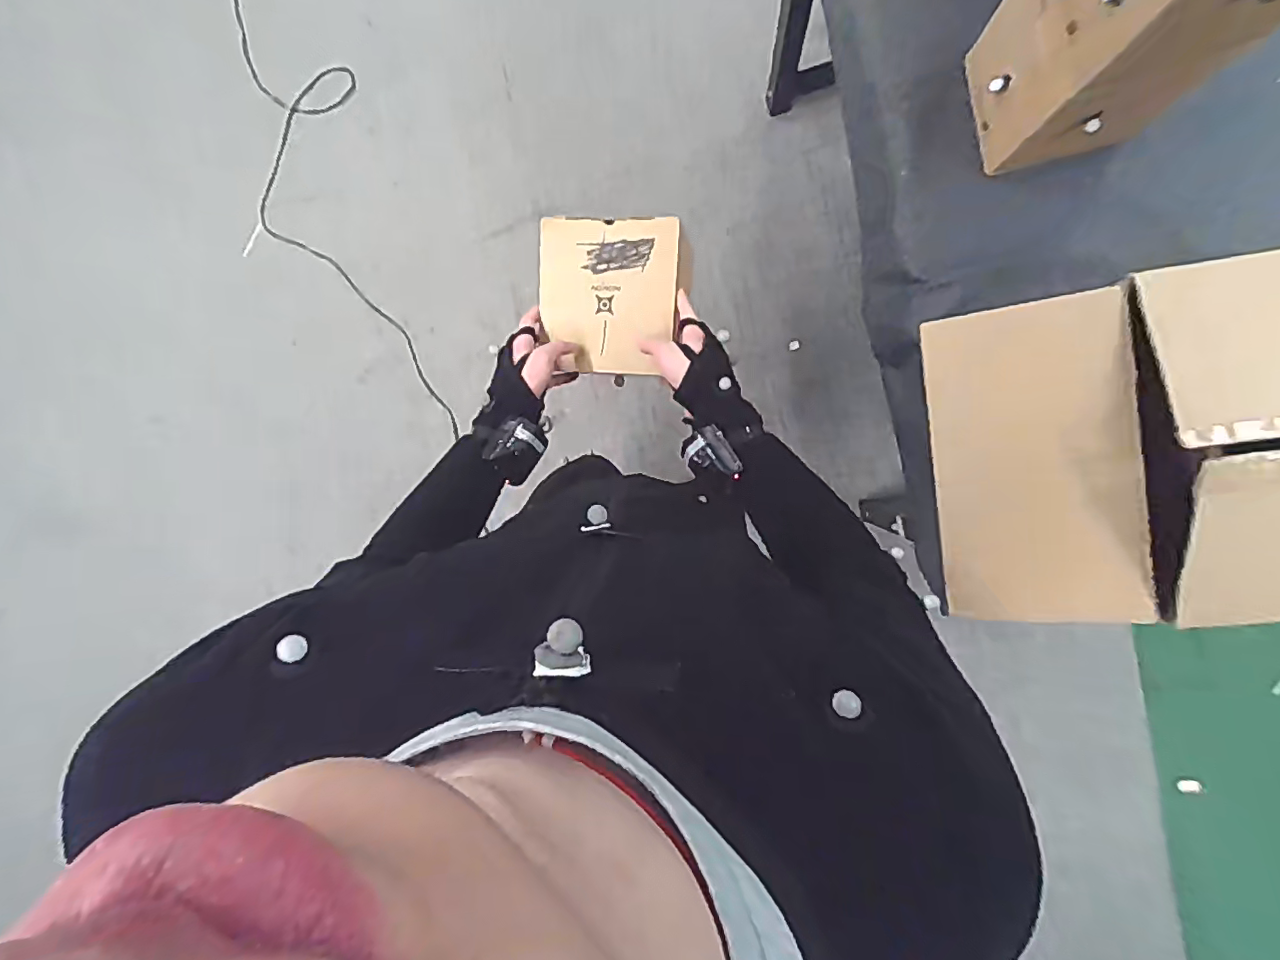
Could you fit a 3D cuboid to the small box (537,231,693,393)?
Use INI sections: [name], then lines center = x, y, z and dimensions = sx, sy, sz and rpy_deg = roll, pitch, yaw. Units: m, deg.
[small box]
center = -0.025, -0.210, 0.703
dimensions = 0.168, 0.176, 0.179
rpy_deg = 6, 103, 11
